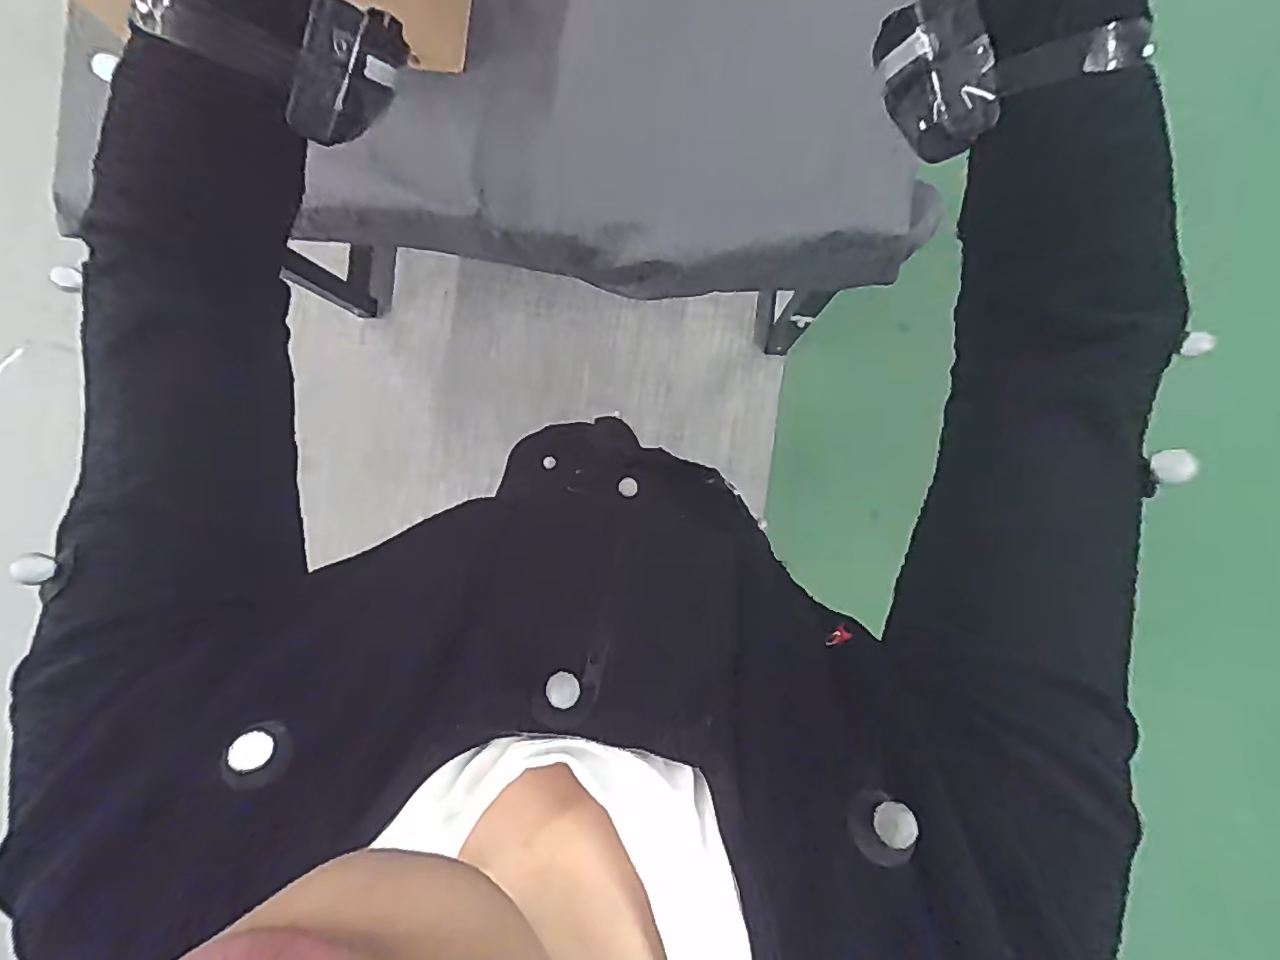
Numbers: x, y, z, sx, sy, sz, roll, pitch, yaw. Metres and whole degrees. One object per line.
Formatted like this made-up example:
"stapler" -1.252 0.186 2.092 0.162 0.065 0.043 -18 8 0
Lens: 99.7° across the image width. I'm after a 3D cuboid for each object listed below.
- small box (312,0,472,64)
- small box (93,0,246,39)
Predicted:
"small box" -0.315 -0.662 0.668 0.168 0.176 0.179 7 91 3
"small box" -0.643 -0.707 0.686 0.179 0.176 0.168 4 91 3
